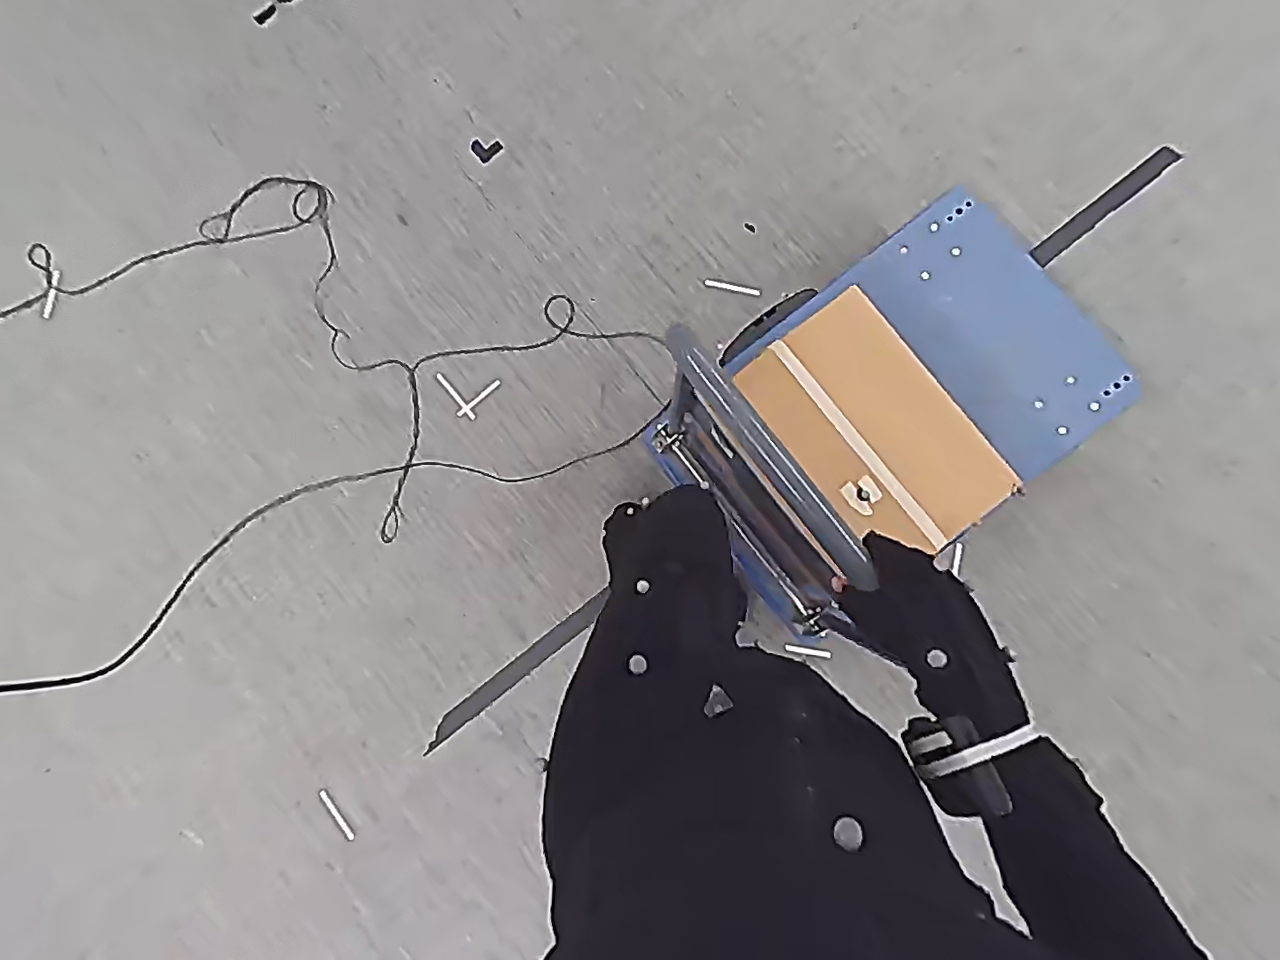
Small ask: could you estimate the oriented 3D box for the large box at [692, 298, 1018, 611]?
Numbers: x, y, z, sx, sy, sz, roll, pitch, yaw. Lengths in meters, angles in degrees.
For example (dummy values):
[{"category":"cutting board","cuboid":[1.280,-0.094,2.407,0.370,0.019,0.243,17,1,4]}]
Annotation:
[{"category":"large box","cuboid":[0.340,-0.037,0.982,0.320,0.320,0.408,-38,85,2]}]
